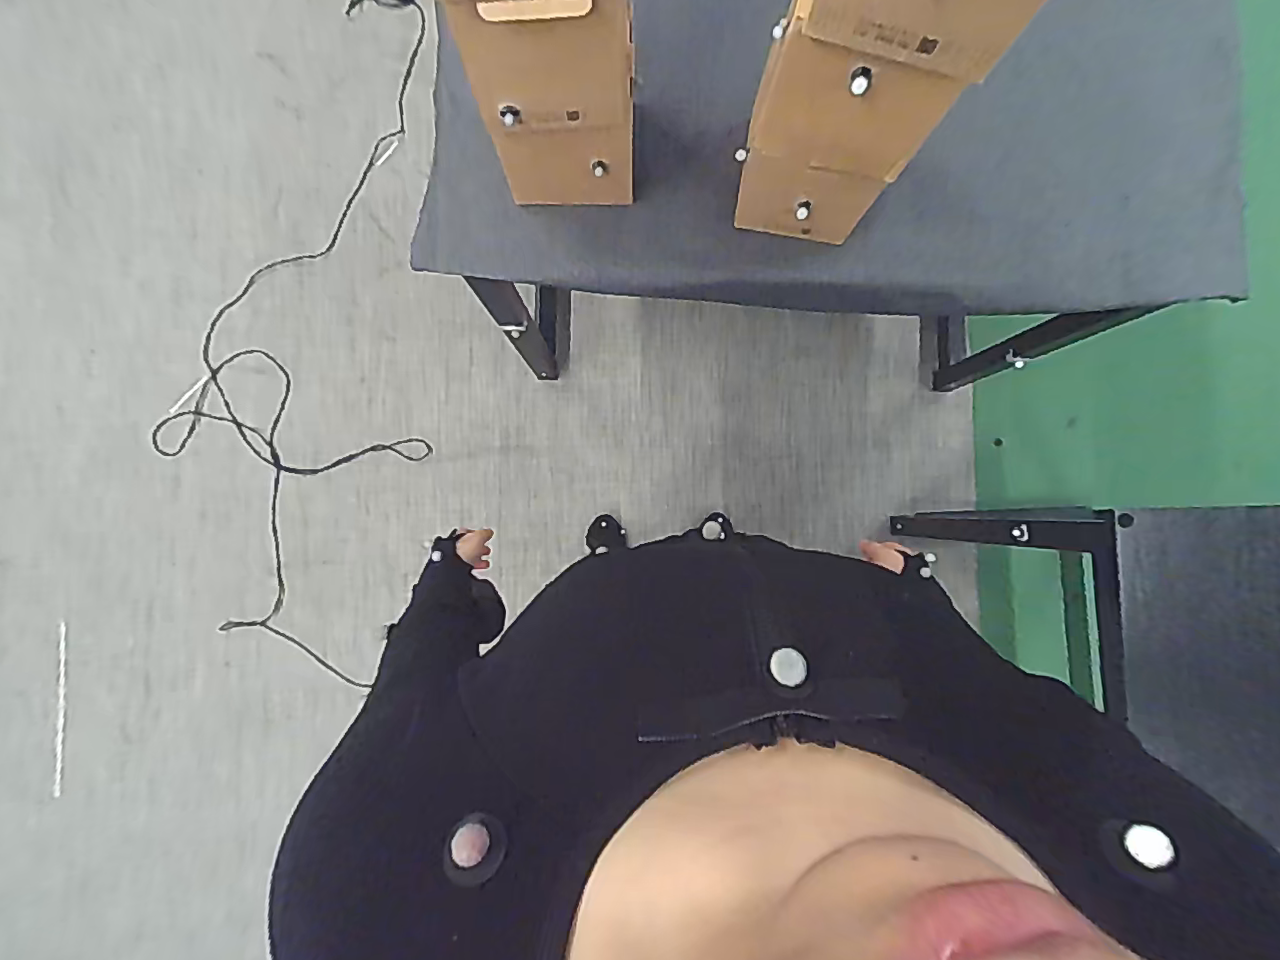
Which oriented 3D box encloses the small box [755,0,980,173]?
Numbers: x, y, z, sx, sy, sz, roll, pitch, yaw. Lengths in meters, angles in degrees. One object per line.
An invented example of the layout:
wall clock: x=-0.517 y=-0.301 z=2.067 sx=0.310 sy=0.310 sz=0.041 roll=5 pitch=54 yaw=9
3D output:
small box: x=0.236 y=-0.455 z=0.560 sx=0.179 sy=0.176 sz=0.168 roll=15 pitch=86 yaw=2

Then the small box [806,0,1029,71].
small box: x=0.236 y=-0.454 z=0.394 sx=0.168 sy=0.176 sz=0.179 roll=16 pitch=86 yaw=1

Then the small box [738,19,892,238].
small box: x=0.233 y=-0.453 z=0.723 sx=0.168 sy=0.176 sz=0.179 roll=9 pitch=86 yaw=1

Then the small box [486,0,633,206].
small box: x=-0.097 y=-0.492 z=0.727 sx=0.179 sy=0.176 sz=0.168 roll=-1 pitch=85 yaw=1

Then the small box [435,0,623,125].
small box: x=-0.107 y=-0.503 z=0.563 sx=0.168 sy=0.176 sz=0.179 roll=-5 pitch=84 yaw=-1
